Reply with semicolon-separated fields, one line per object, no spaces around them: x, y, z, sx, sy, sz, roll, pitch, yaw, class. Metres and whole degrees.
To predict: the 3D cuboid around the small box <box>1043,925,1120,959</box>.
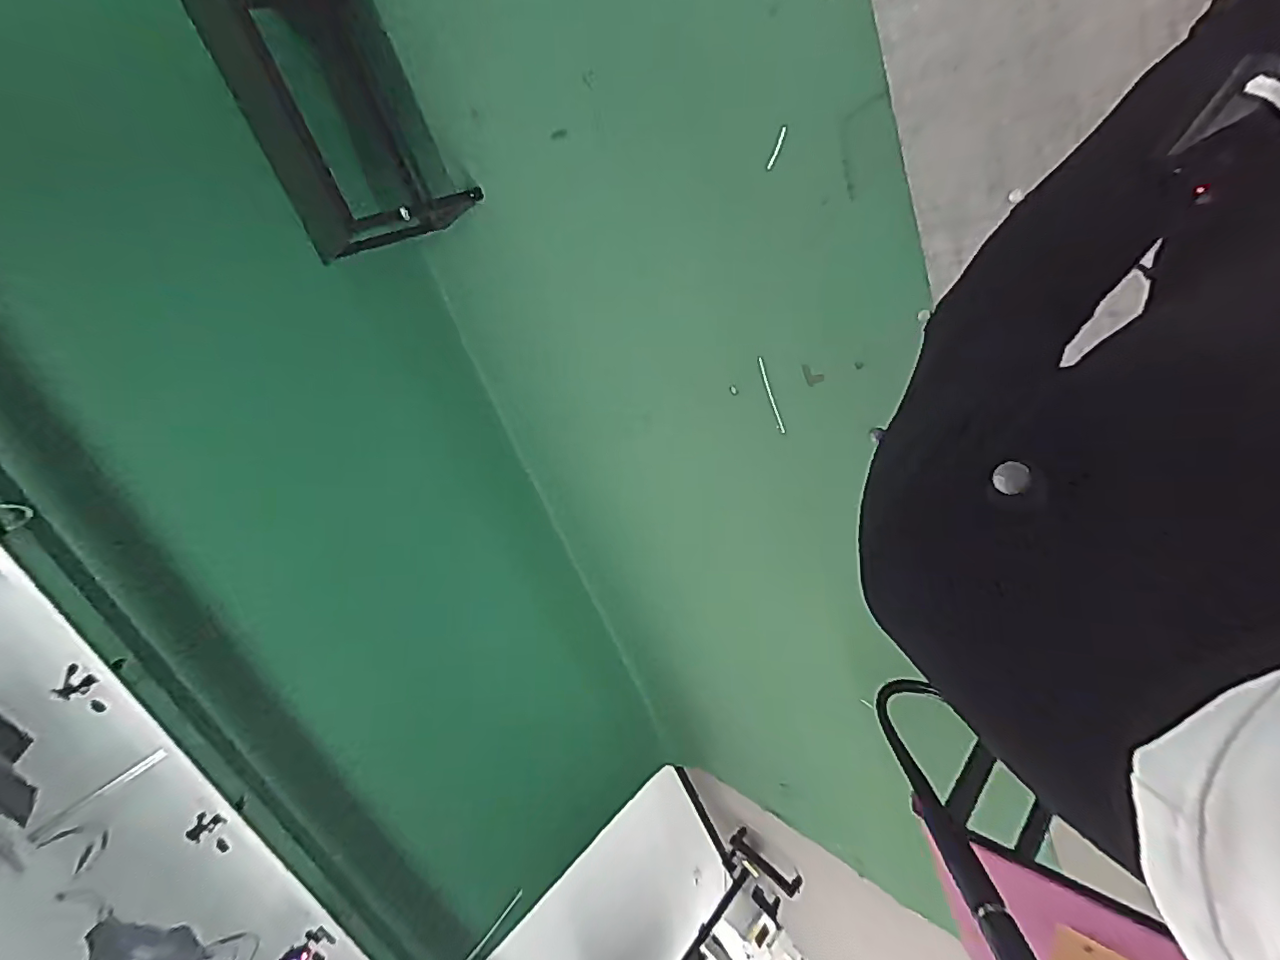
1.019;1.169;1.215;0.168;0.176;0.179;-3;119;54;small box
